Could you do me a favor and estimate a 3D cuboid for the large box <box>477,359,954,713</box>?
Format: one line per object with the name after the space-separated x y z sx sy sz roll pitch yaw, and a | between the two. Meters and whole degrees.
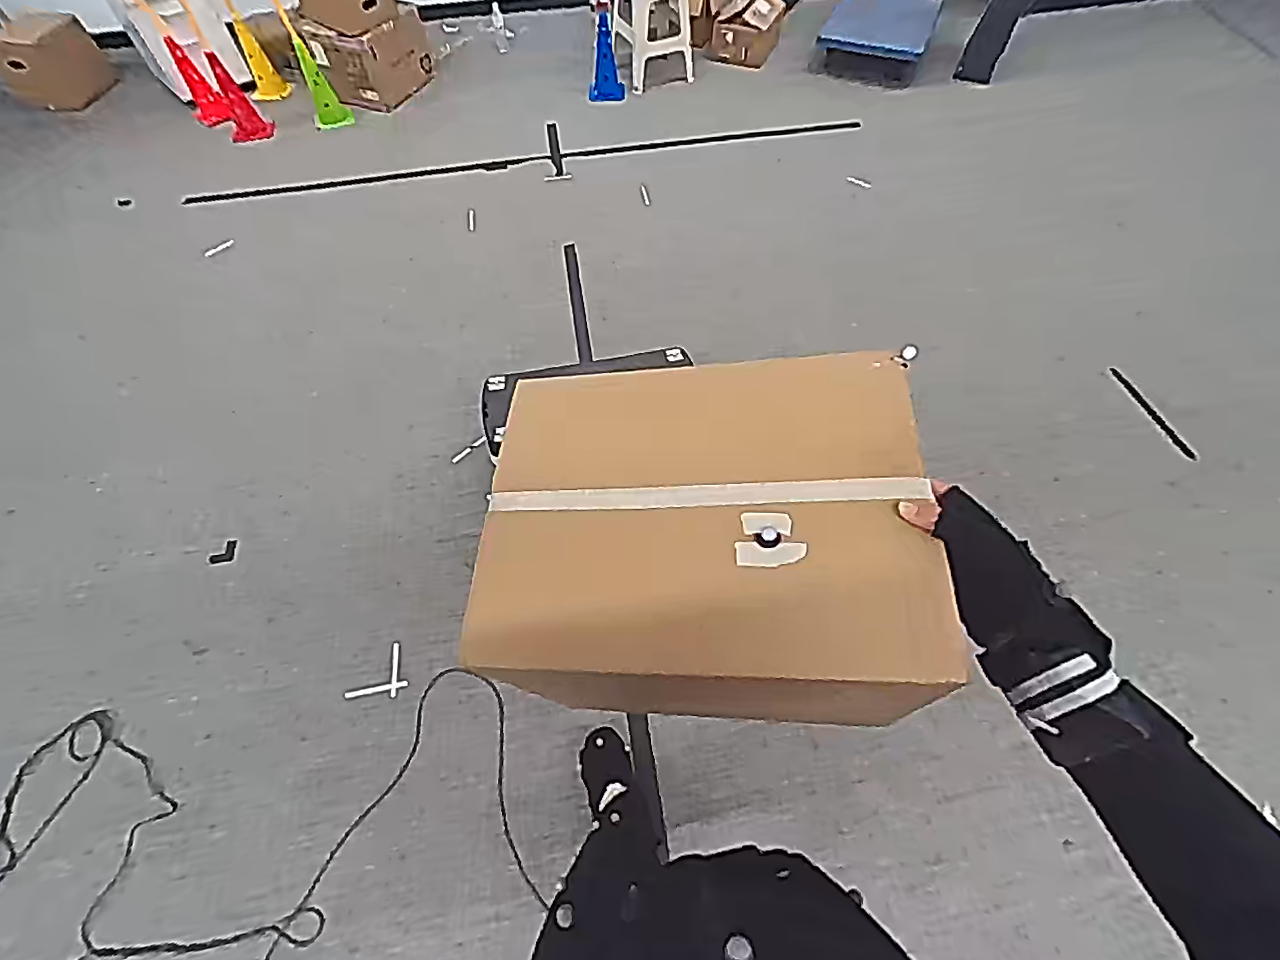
0.080 0.091 0.644 0.408 0.320 0.320 -2 61 12 | large box

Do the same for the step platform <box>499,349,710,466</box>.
-0.100 -0.216 1.732 0.684 0.204 0.286 -11 58 -6 | step platform
